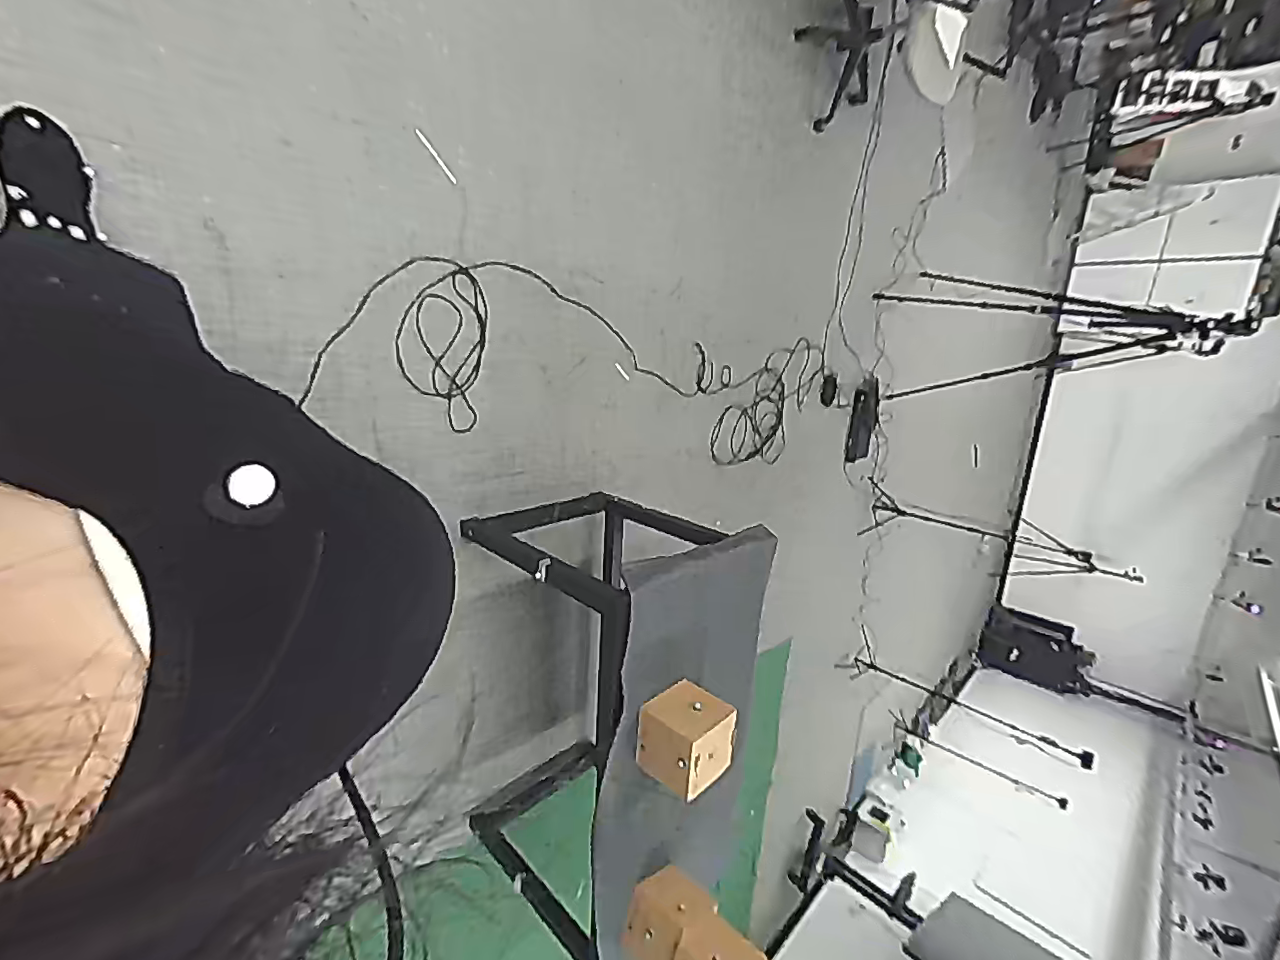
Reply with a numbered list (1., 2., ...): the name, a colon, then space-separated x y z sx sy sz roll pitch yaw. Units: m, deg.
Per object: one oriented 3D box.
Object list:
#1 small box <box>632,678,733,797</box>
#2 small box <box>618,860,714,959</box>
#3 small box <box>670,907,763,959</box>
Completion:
1. small box: 0.103 0.617 1.325 0.179 0.176 0.168 -12 111 -46
2. small box: 0.068 1.182 1.461 0.179 0.176 0.168 18 89 -50
3. small box: 0.177 1.236 1.352 0.179 0.176 0.168 11 96 -50
